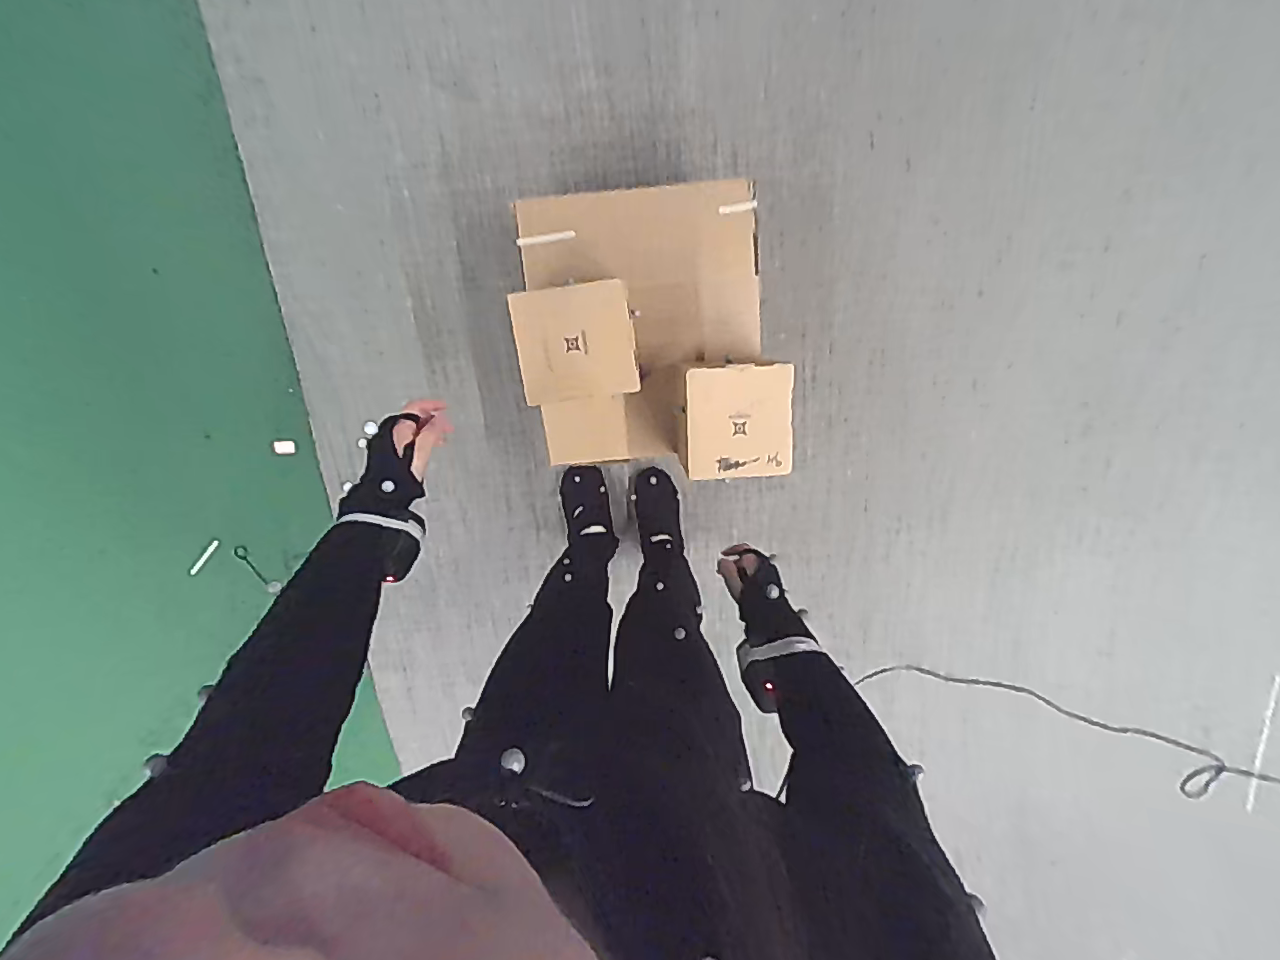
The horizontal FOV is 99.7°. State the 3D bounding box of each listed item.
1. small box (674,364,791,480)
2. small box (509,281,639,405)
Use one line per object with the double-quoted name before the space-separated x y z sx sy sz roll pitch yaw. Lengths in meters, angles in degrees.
"small box" 0.146 -0.104 0.909 0.168 0.176 0.179 -2 104 -1
"small box" -0.098 -0.220 0.877 0.179 0.176 0.168 -7 103 2
